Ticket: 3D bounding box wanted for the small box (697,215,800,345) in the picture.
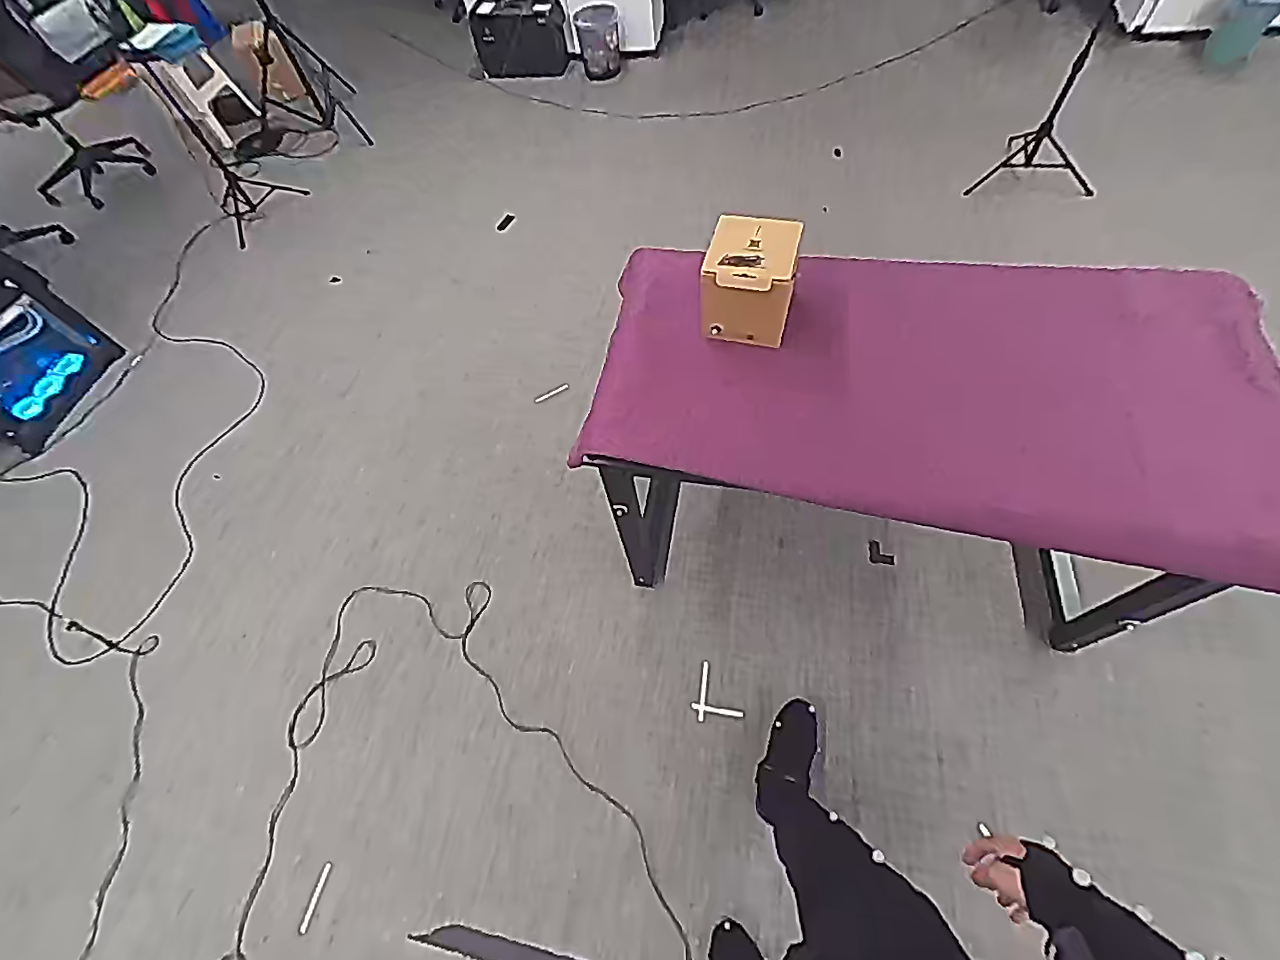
[{"bbox_3d":[0.215,-0.396,1.083,0.168,0.176,0.179,12,62,13],"label":"small box"}]
